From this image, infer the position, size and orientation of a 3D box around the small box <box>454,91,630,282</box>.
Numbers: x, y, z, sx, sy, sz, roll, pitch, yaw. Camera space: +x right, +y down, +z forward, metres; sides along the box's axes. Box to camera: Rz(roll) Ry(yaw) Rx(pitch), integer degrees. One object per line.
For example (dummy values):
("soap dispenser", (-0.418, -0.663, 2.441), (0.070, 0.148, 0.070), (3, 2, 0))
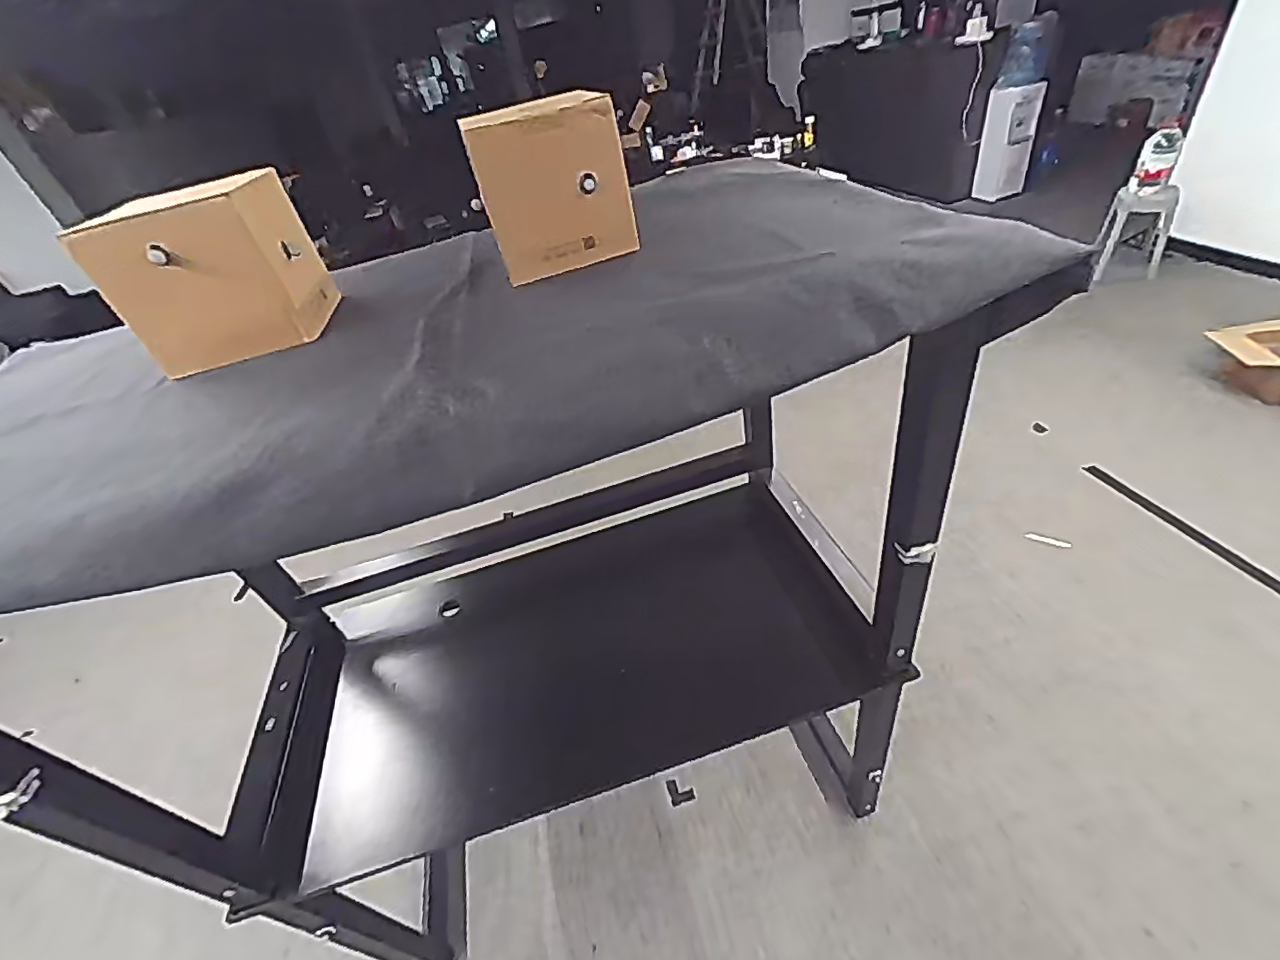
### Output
("small box", (-0.121, -0.367, 0.683), (0.168, 0.176, 0.179), (-18, 40, -6))

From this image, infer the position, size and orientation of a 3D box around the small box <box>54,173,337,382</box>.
("small box", (-0.502, -0.244, 0.651), (0.179, 0.176, 0.168), (-18, 40, -4))
